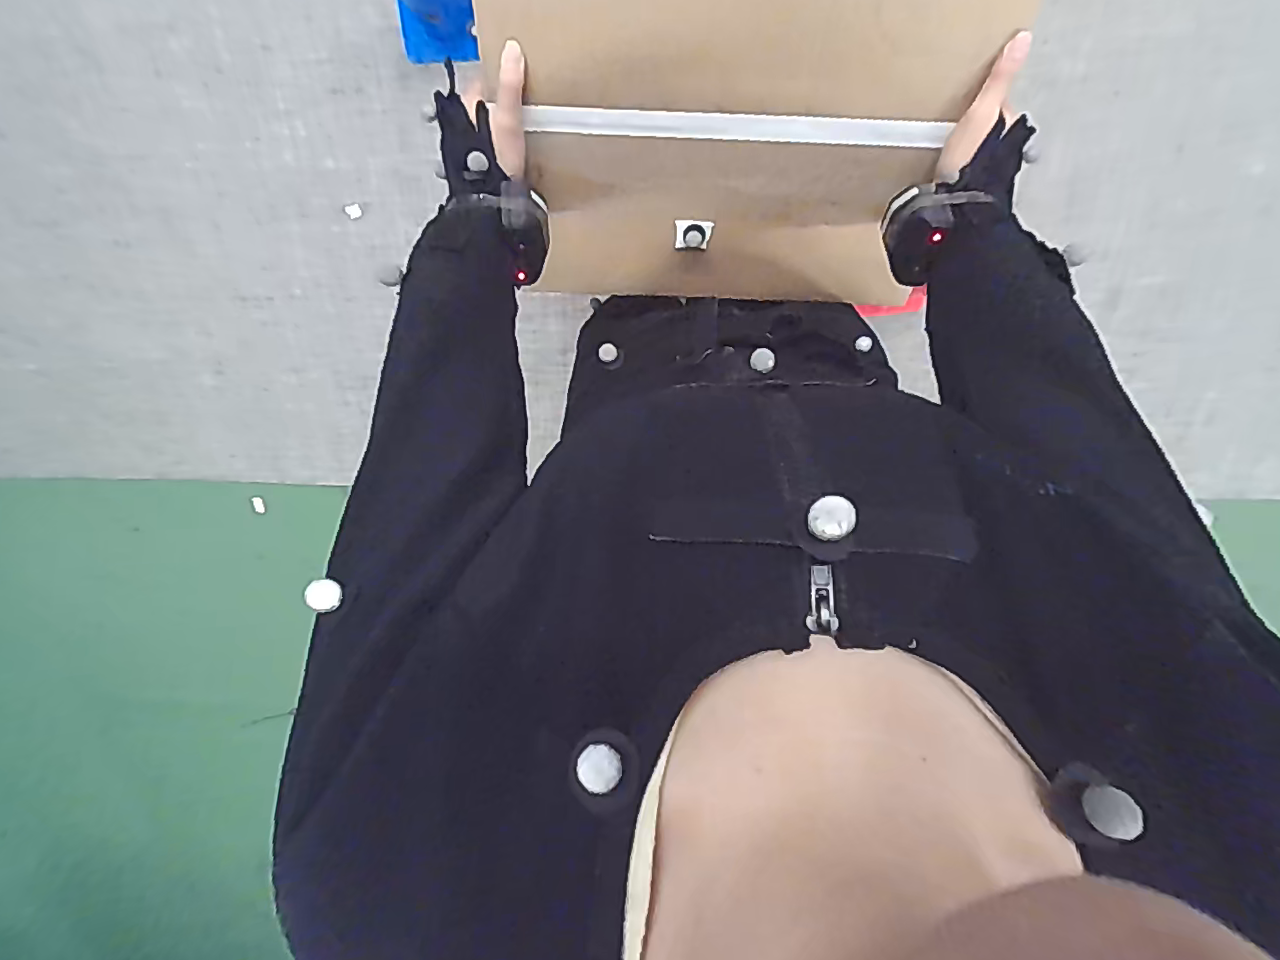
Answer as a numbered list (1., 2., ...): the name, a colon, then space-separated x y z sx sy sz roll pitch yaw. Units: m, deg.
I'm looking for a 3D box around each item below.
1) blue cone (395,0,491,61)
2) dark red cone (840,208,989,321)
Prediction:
1. blue cone: -0.401 -0.867 0.894 0.192 0.380 0.193 2 113 5
2. dark red cone: 0.509 -0.372 0.977 0.202 0.394 0.201 -5 115 8
